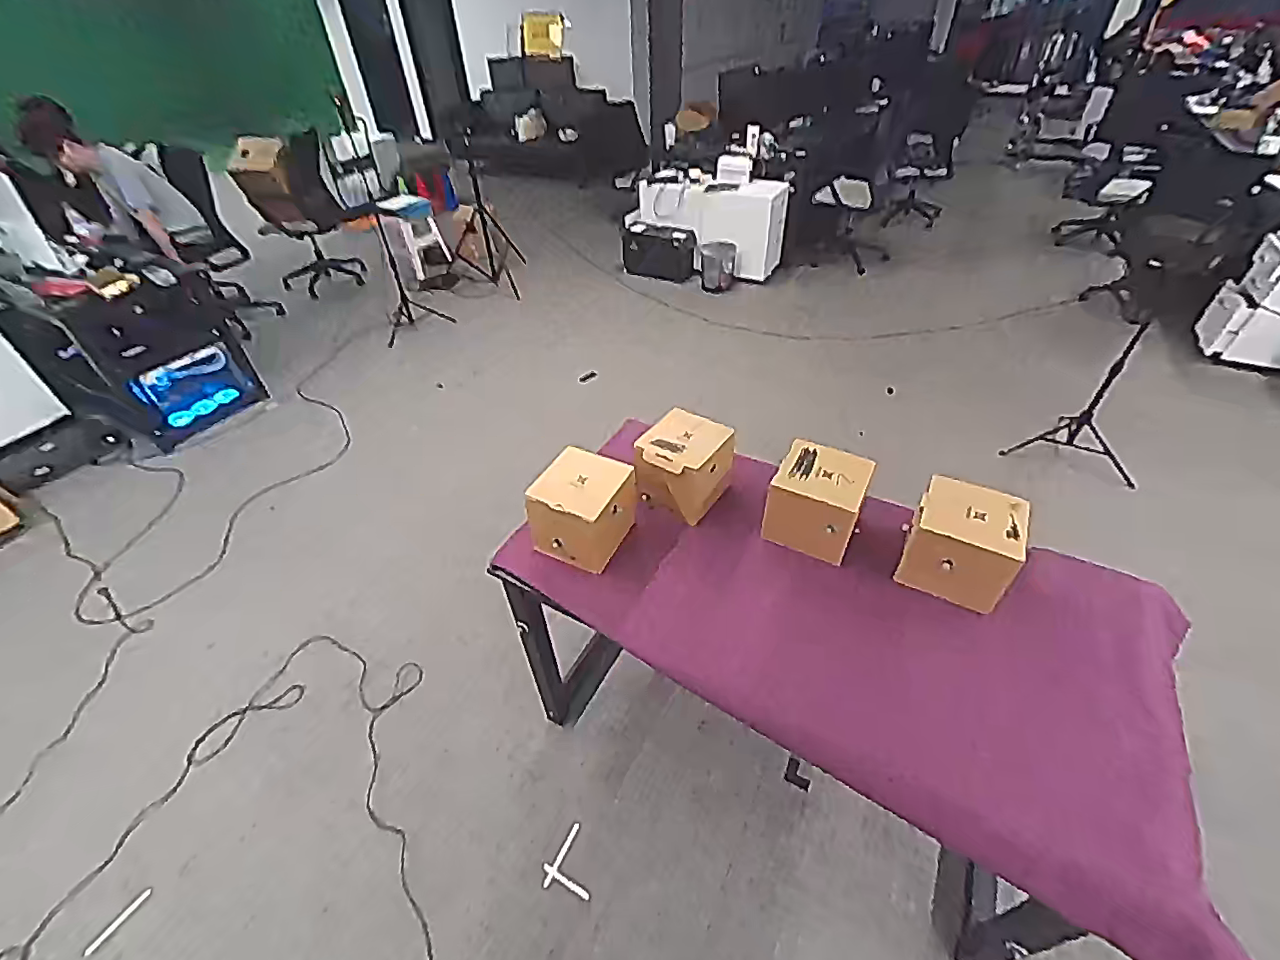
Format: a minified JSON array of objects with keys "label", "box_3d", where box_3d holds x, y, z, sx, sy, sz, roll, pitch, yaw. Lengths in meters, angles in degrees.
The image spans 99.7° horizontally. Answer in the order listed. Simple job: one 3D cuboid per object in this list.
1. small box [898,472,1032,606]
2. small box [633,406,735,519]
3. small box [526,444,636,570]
[{"label":"small box","box_3d":[0.625,0.116,1.053,0.179,0.176,0.168,19,49,24]},{"label":"small box","box_3d":[0.103,-0.038,1.252,0.168,0.176,0.179,25,49,26]},{"label":"small box","box_3d":[-0.121,0.057,1.154,0.168,0.176,0.179,18,47,19]}]
